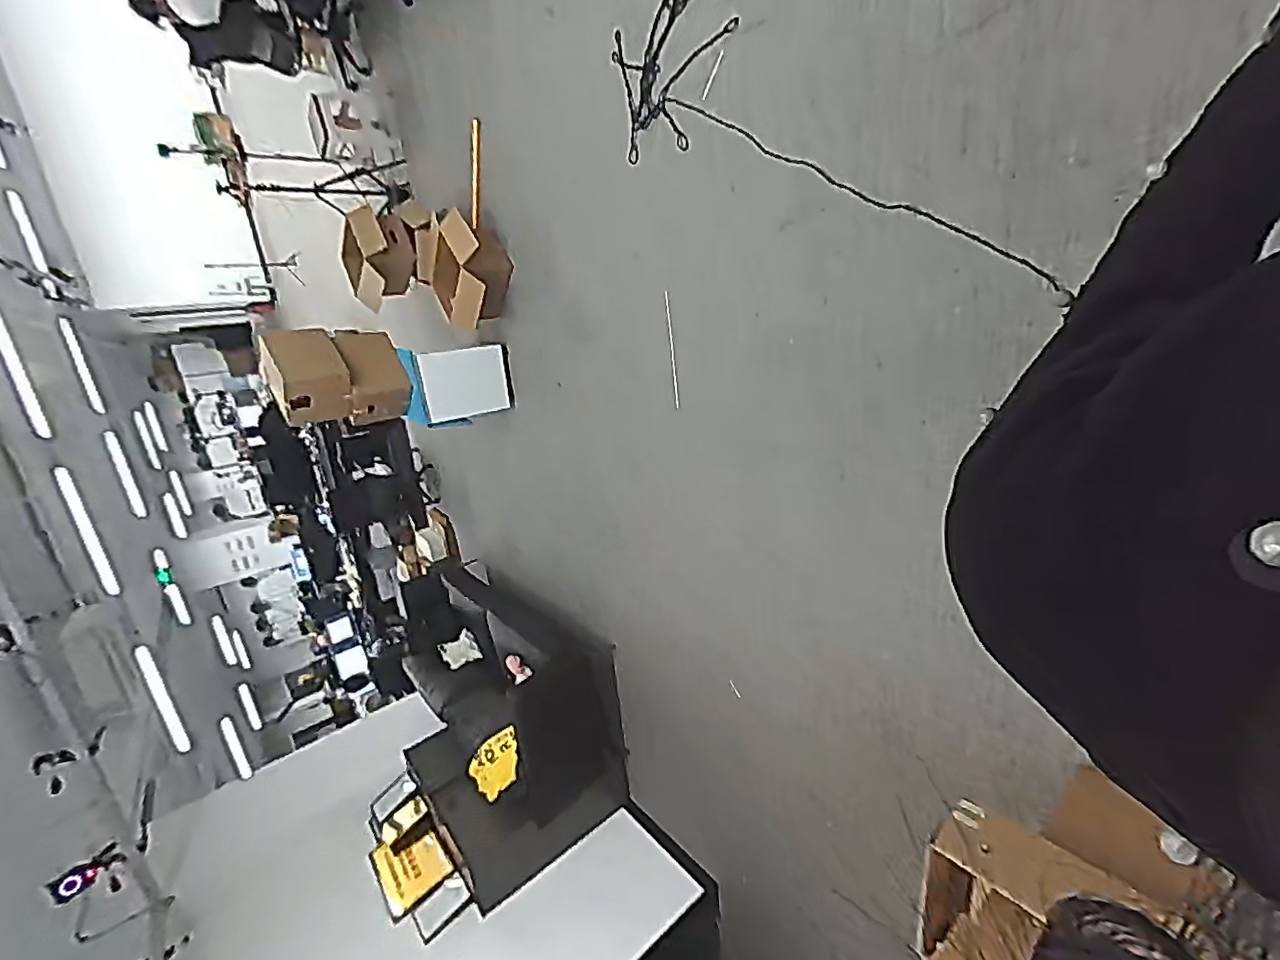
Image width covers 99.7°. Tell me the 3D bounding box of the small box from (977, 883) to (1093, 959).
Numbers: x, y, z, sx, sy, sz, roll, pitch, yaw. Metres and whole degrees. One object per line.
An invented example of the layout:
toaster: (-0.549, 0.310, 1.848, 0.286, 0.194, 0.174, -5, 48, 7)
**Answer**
small box: (0.812, 1.010, 1.135, 0.168, 0.176, 0.179, 24, 122, 48)

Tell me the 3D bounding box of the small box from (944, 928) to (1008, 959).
small box: (0.675, 1.045, 1.051, 0.179, 0.176, 0.168, 22, 121, 49)
